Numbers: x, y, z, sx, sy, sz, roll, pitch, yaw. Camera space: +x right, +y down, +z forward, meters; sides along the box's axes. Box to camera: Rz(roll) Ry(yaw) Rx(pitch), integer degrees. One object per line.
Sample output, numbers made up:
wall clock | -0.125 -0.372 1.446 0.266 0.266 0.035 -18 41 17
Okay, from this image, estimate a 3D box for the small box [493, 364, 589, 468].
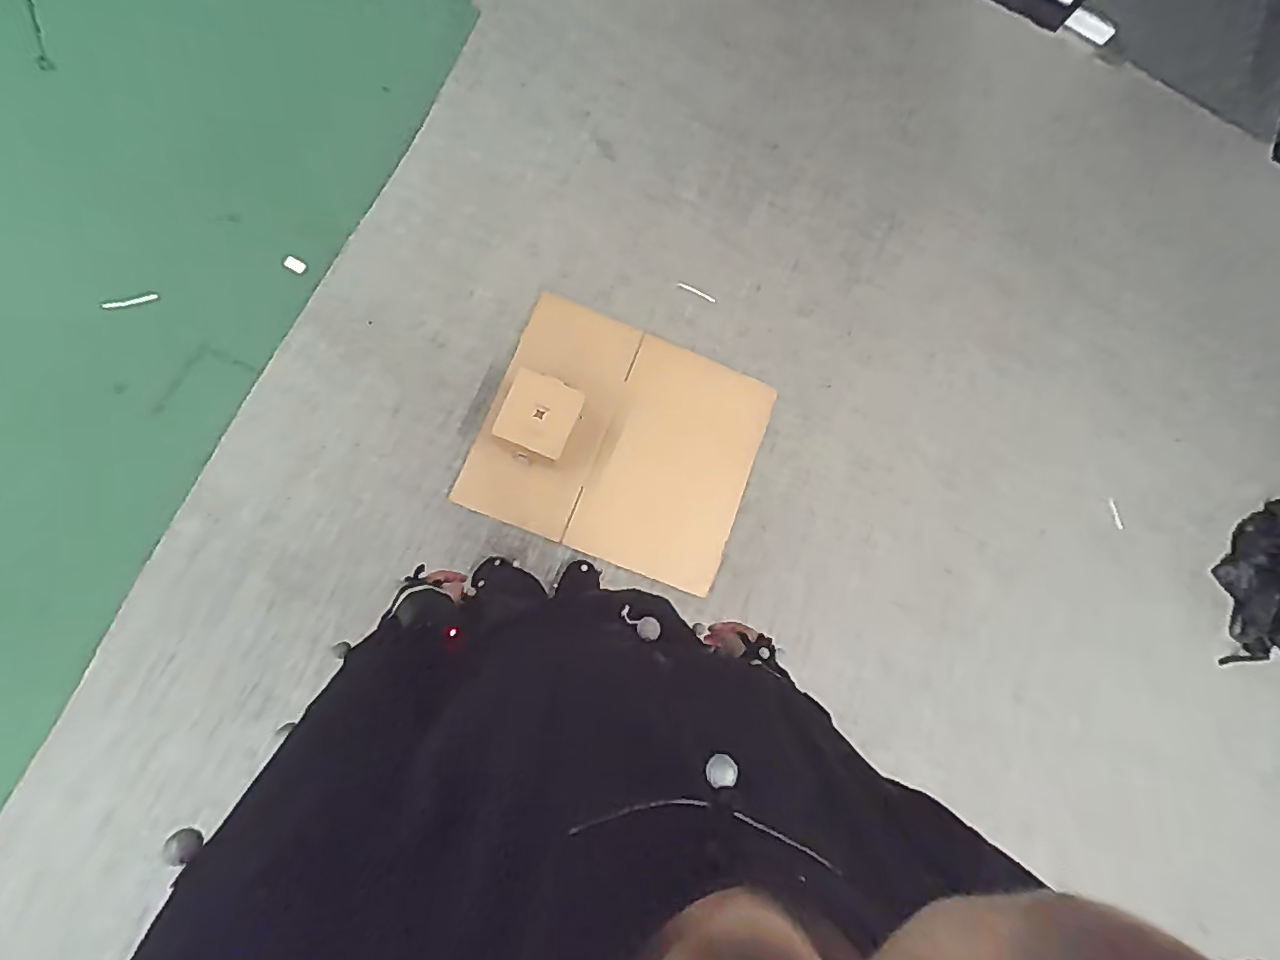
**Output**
small box | -0.233 -0.146 1.292 0.168 0.176 0.179 22 81 -4
